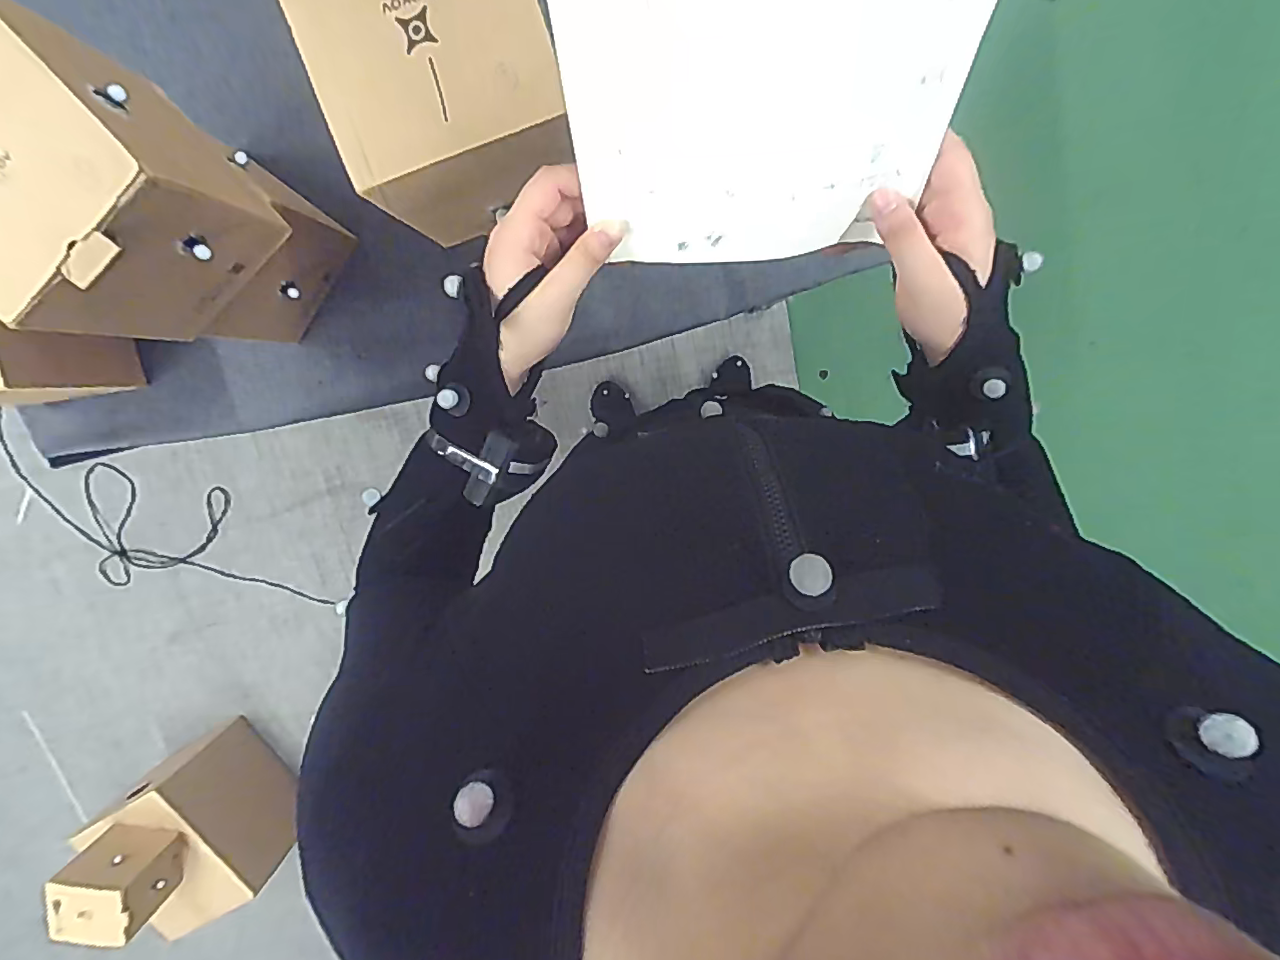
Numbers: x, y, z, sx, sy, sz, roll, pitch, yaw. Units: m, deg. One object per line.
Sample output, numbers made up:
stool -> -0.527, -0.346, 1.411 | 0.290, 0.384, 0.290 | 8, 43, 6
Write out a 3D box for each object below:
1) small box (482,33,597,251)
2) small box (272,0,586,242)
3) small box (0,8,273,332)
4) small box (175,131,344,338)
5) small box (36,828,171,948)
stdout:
small box -> -0.153, -0.366, 0.591 | 0.179, 0.176, 0.168 | 16, 101, -1
small box -> -0.152, -0.319, 0.433 | 0.168, 0.176, 0.179 | -17, 101, 5
small box -> -0.469, -0.243, 0.455 | 0.168, 0.176, 0.179 | -41, 97, 7
small box -> -0.484, -0.279, 0.614 | 0.179, 0.176, 0.168 | 36, 99, -6
small box -> -1.300, 0.992, 1.327 | 0.179, 0.176, 0.168 | 8, 101, -3
